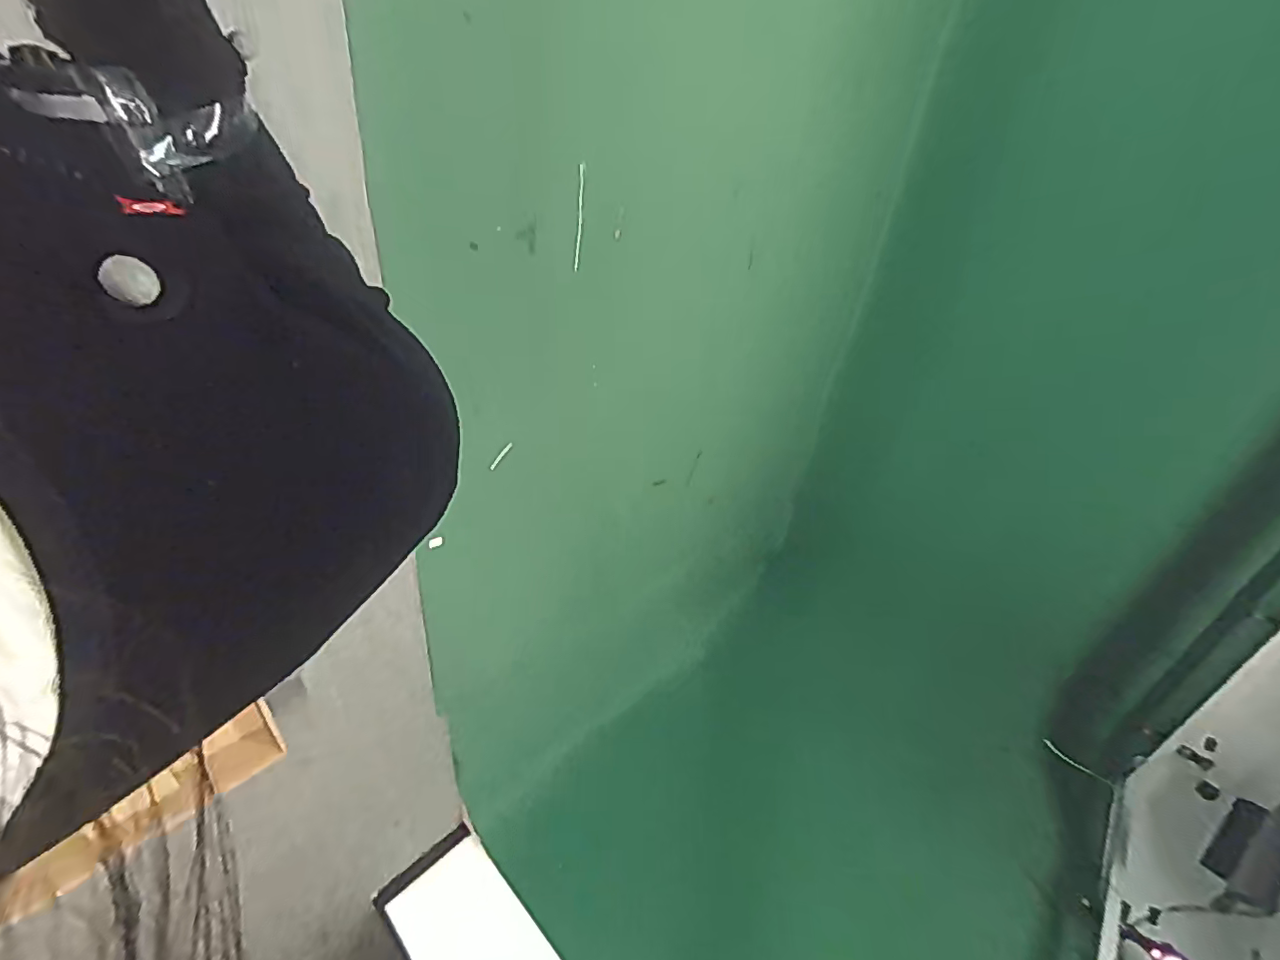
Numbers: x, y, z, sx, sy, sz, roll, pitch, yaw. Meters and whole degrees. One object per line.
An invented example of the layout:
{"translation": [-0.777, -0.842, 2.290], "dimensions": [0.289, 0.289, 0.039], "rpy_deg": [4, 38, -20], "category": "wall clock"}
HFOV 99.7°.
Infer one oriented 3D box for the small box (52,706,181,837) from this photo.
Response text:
{"translation": [-1.252, 0.689, 1.292], "dimensions": [0.179, 0.176, 0.168], "rpy_deg": [-27, 136, -39], "category": "small box"}
